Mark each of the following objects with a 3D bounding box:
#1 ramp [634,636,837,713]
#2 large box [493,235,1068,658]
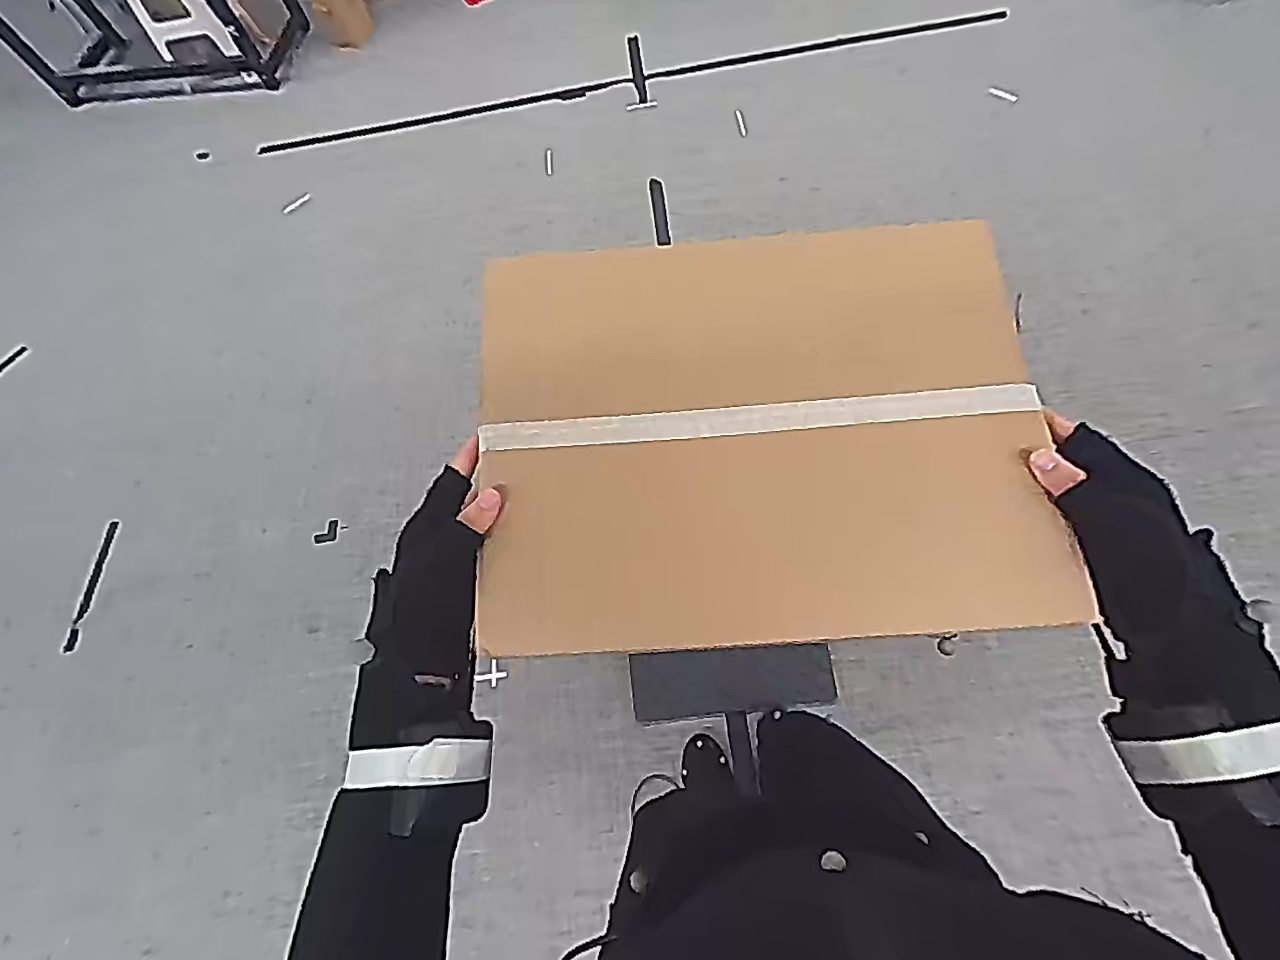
[{"bbox_3d":[0.181,0.065,1.444,0.509,0.206,0.991,-9,66,1],"label":"ramp"},{"bbox_3d":[0.094,0.000,0.554,0.408,0.320,0.320,-4,73,2],"label":"large box"}]
